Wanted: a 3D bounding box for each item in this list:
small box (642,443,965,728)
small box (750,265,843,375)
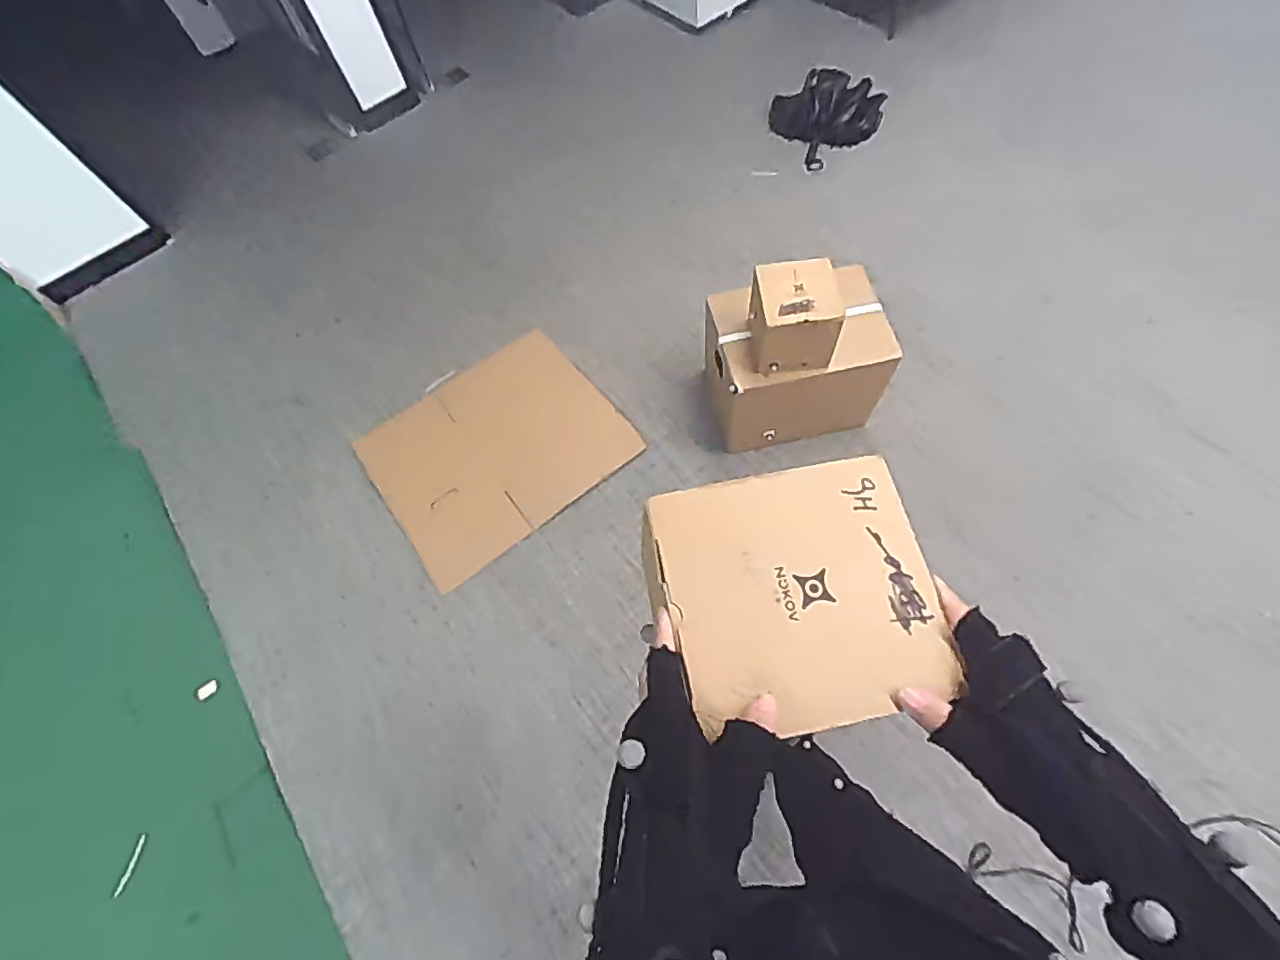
[{"bbox_3d":[0.104,0.095,0.436,0.179,0.176,0.168,-12,66,-6],"label":"small box"},{"bbox_3d":[0.349,-0.356,1.235,0.168,0.176,0.179,-6,63,4],"label":"small box"}]
